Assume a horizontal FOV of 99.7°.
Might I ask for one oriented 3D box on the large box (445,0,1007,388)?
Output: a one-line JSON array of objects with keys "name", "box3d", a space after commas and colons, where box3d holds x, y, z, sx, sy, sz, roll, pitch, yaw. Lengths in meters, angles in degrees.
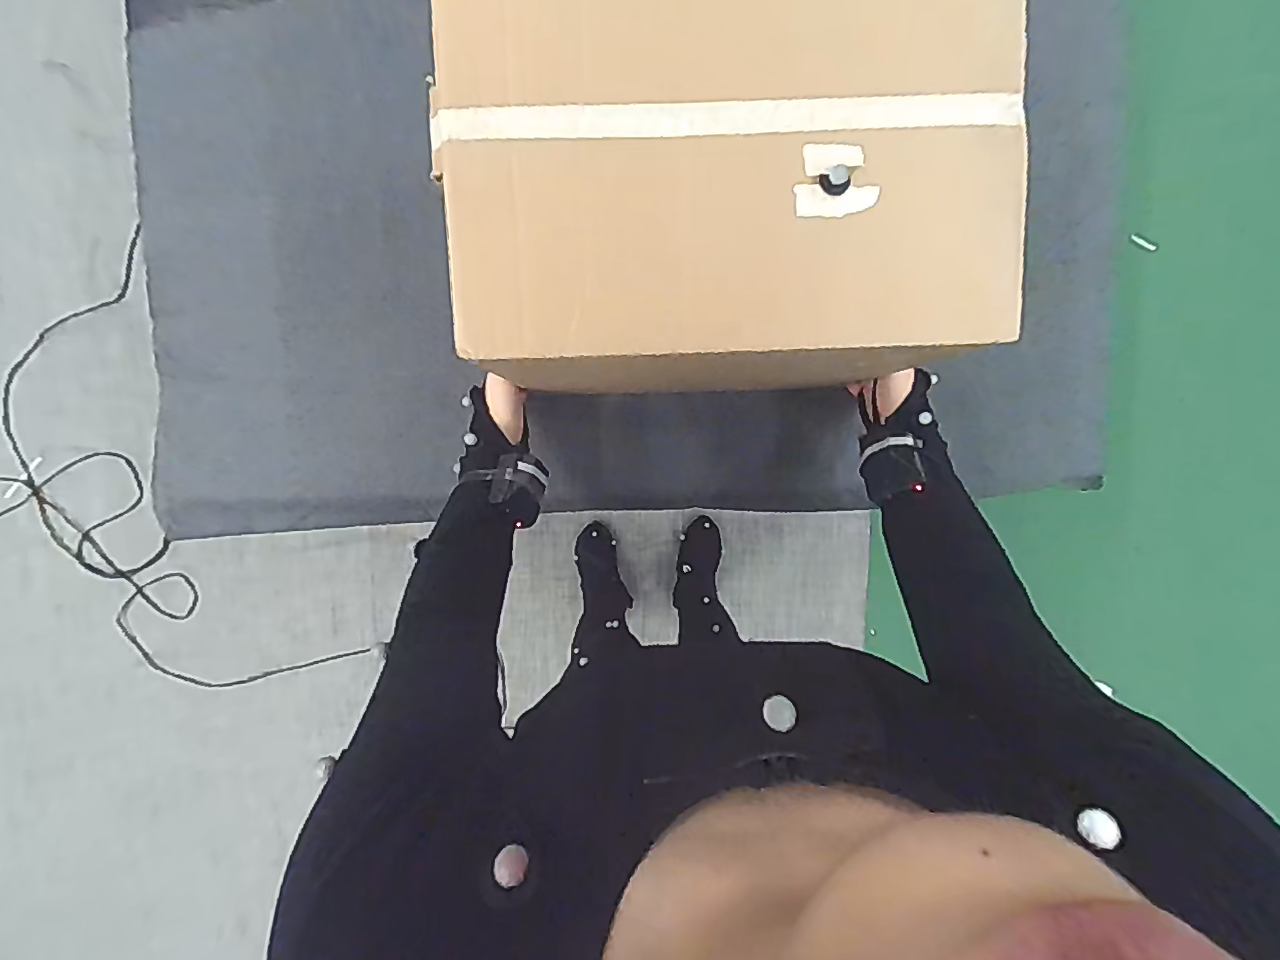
[{"name": "large box", "box3d": [0.060, -0.270, 0.536, 0.408, 0.320, 0.320, -3, 95, -2]}]
